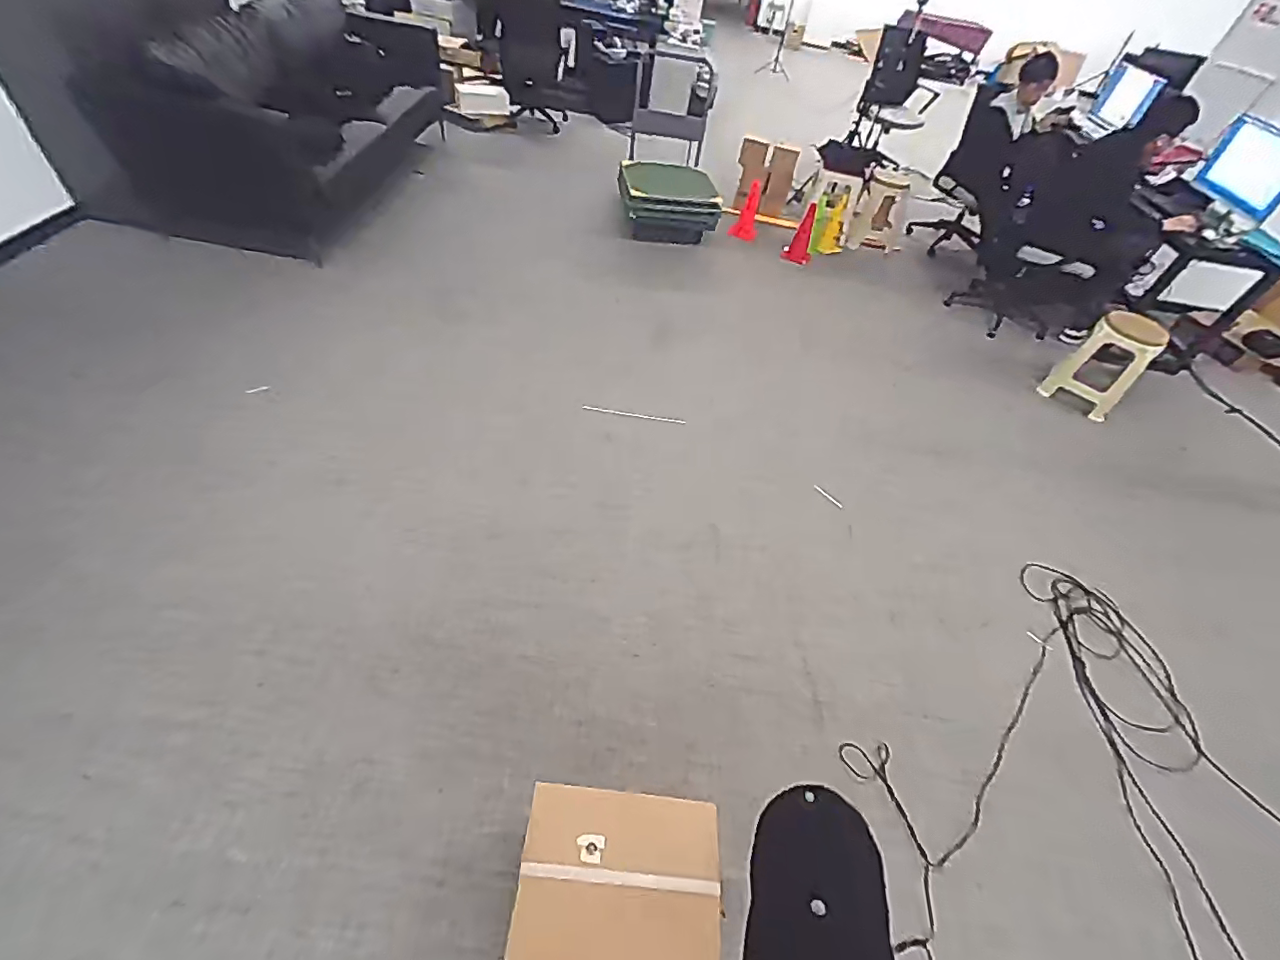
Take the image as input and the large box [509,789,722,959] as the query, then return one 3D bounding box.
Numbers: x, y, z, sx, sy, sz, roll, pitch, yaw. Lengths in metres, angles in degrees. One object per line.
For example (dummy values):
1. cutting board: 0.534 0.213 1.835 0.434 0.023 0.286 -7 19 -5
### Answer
1. large box: -0.052 0.906 1.194 0.408 0.320 0.320 7 46 -3
